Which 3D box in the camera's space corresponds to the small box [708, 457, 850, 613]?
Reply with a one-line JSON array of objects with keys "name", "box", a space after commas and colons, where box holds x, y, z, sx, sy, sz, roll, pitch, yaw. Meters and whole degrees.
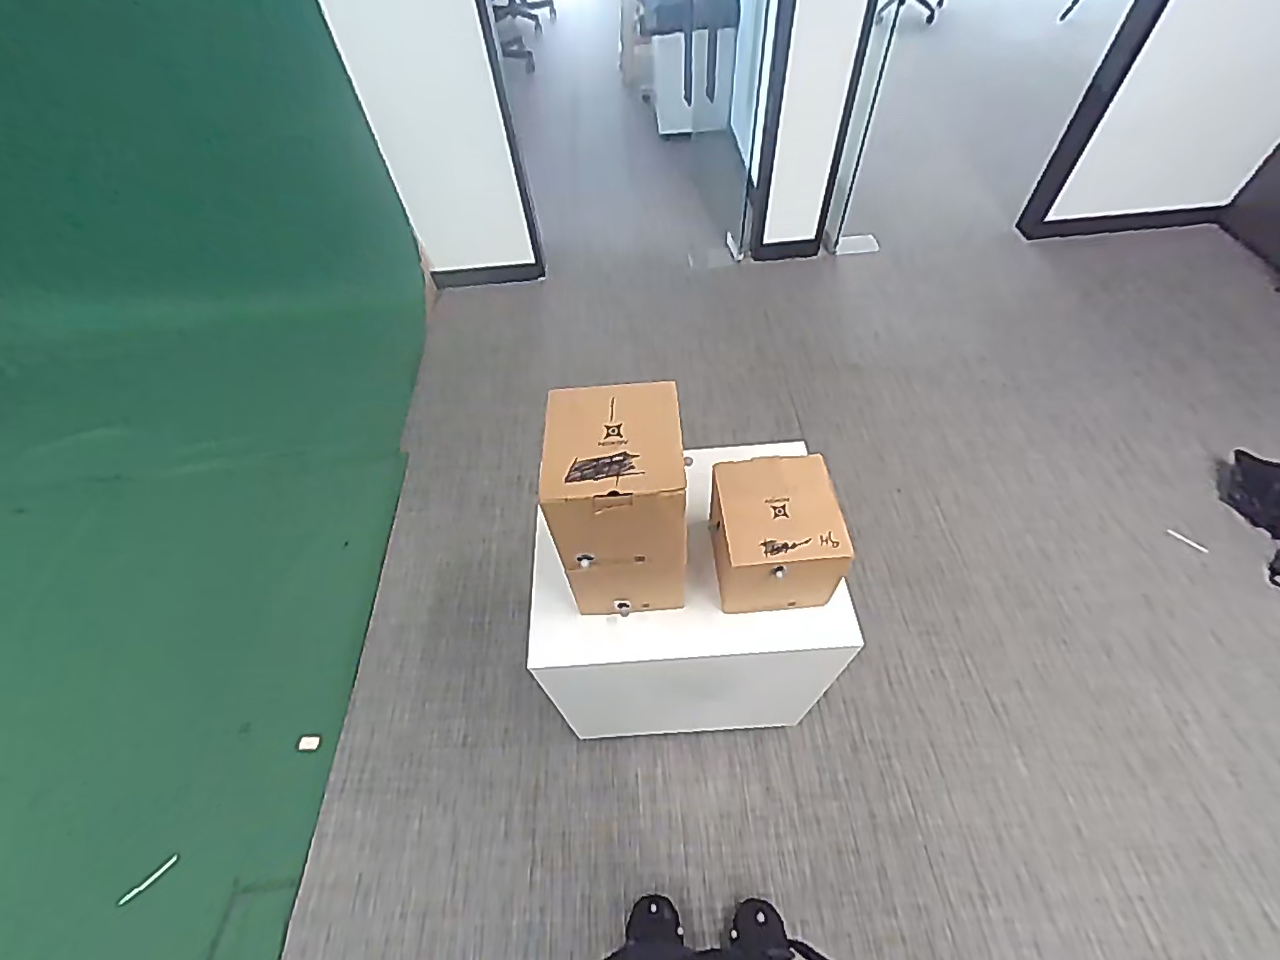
[{"name": "small box", "box": [0.199, 0.087, 0.835, 0.168, 0.176, 0.179, -4, 53, 1]}]

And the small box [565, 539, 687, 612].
[{"name": "small box", "box": [-0.021, 0.086, 0.835, 0.168, 0.176, 0.179, -6, 55, 0]}]

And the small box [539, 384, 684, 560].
[{"name": "small box", "box": [-0.029, -0.002, 0.716, 0.168, 0.176, 0.179, -3, 52, 2]}]
